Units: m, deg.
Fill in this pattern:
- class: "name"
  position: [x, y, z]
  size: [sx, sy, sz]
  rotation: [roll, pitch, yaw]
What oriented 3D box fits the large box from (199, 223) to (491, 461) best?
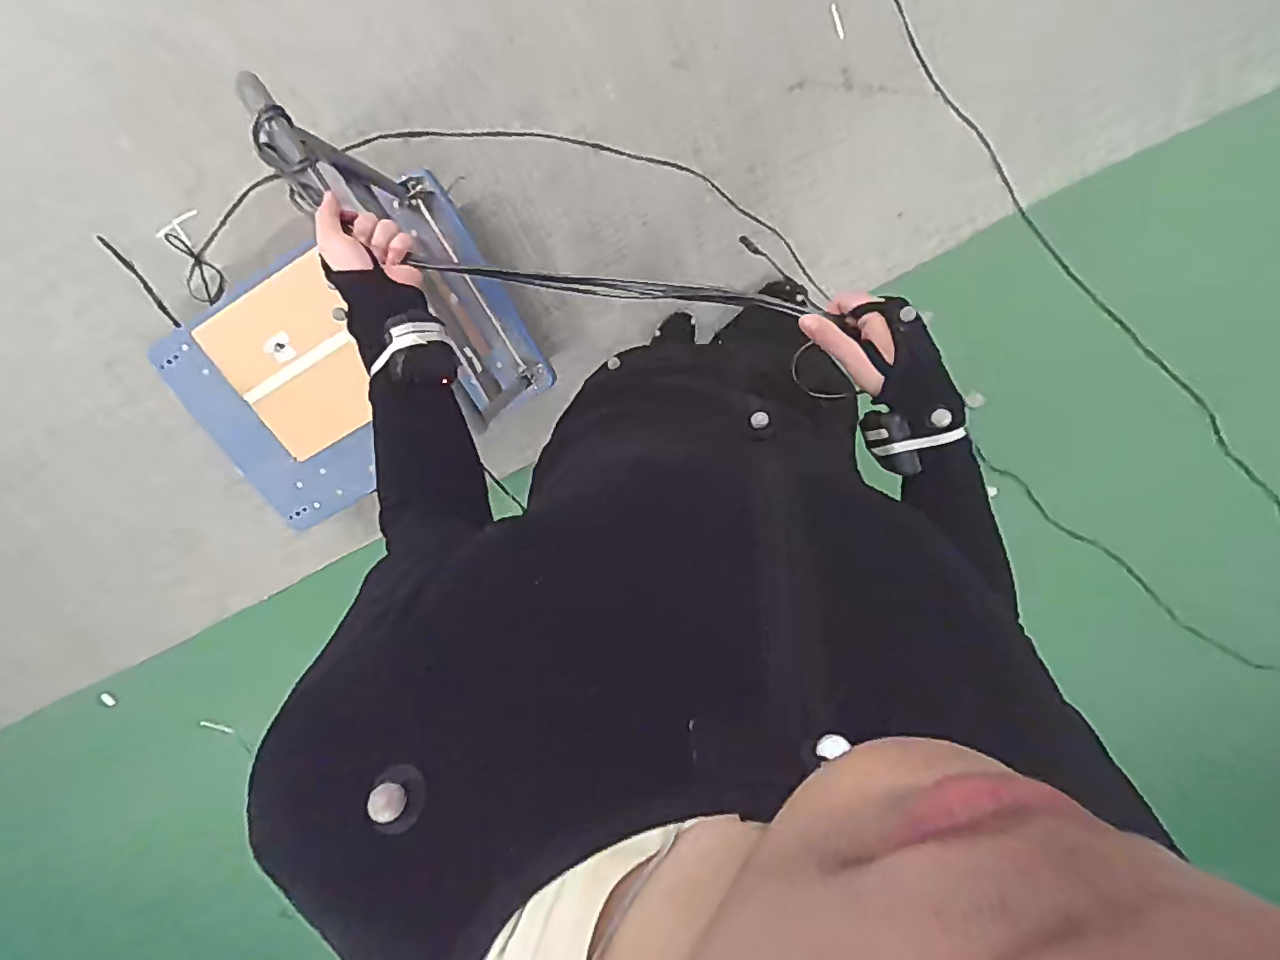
- class: "large box"
  position: [-0.610, -0.306, 1.196]
  size: [0.408, 0.320, 0.320]
  rotation: [-28, 107, 10]
